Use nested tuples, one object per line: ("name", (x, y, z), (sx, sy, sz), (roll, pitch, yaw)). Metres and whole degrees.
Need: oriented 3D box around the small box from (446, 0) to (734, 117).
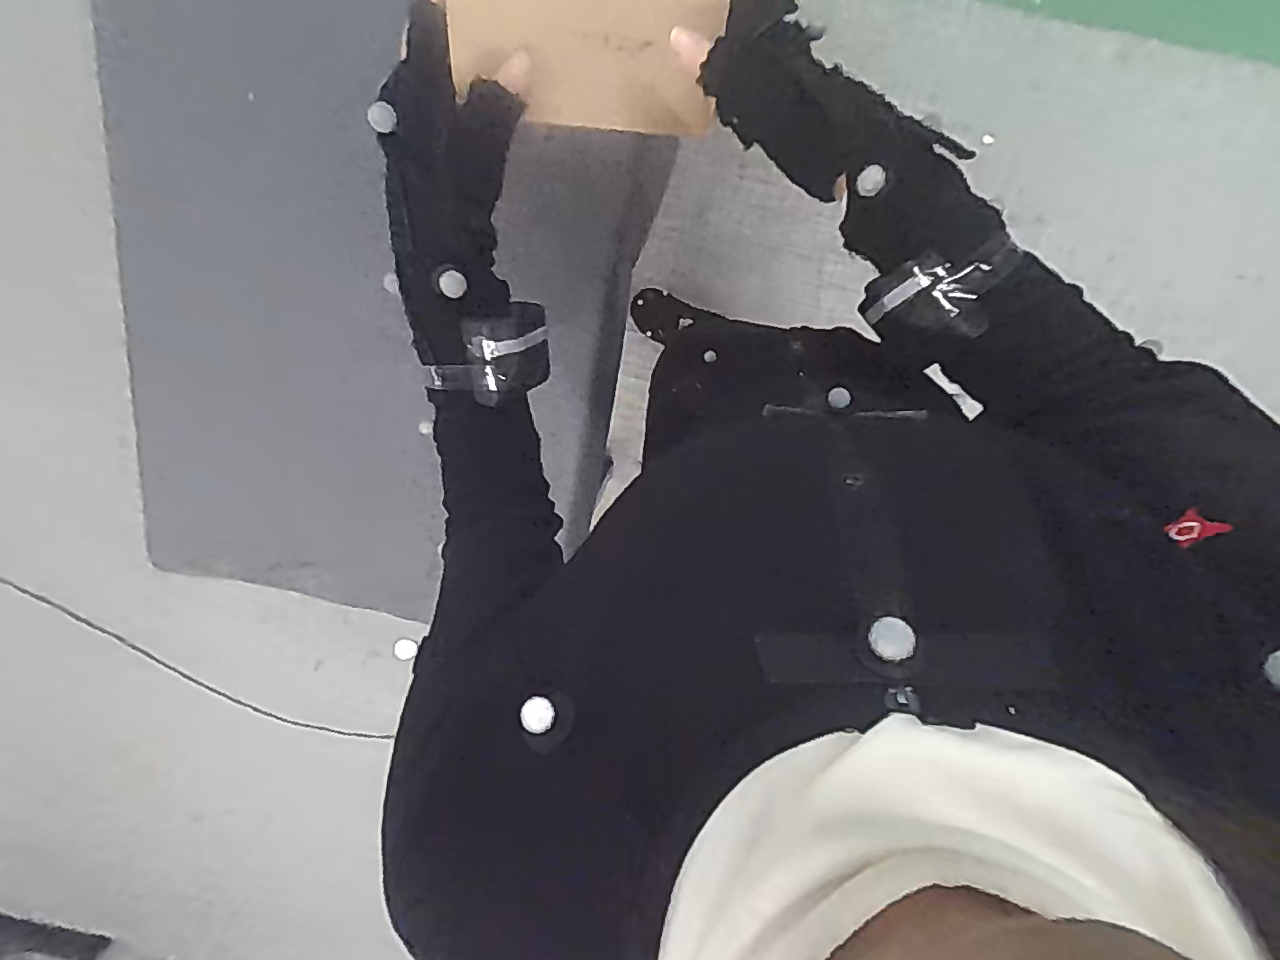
("small box", (-0.042, -0.351, 0.347), (0.168, 0.176, 0.179), (-7, 130, -15))
